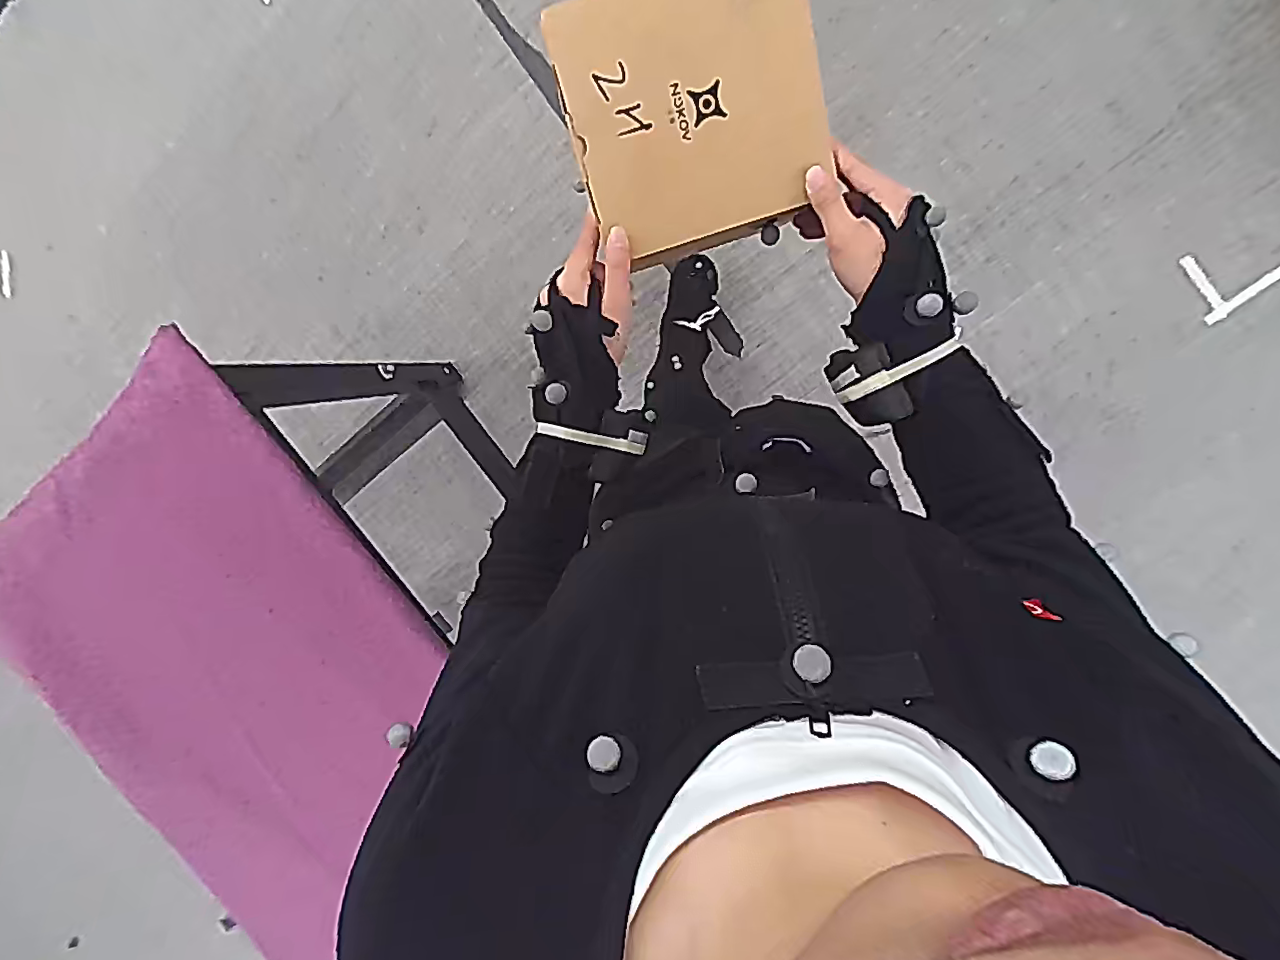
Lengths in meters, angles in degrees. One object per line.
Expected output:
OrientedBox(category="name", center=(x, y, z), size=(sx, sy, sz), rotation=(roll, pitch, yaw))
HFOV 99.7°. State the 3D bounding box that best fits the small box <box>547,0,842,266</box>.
OrientedBox(category="small box", center=(0.042, -0.286, 0.445), size=(0.179, 0.176, 0.168), rotation=(-15, 107, 6))
